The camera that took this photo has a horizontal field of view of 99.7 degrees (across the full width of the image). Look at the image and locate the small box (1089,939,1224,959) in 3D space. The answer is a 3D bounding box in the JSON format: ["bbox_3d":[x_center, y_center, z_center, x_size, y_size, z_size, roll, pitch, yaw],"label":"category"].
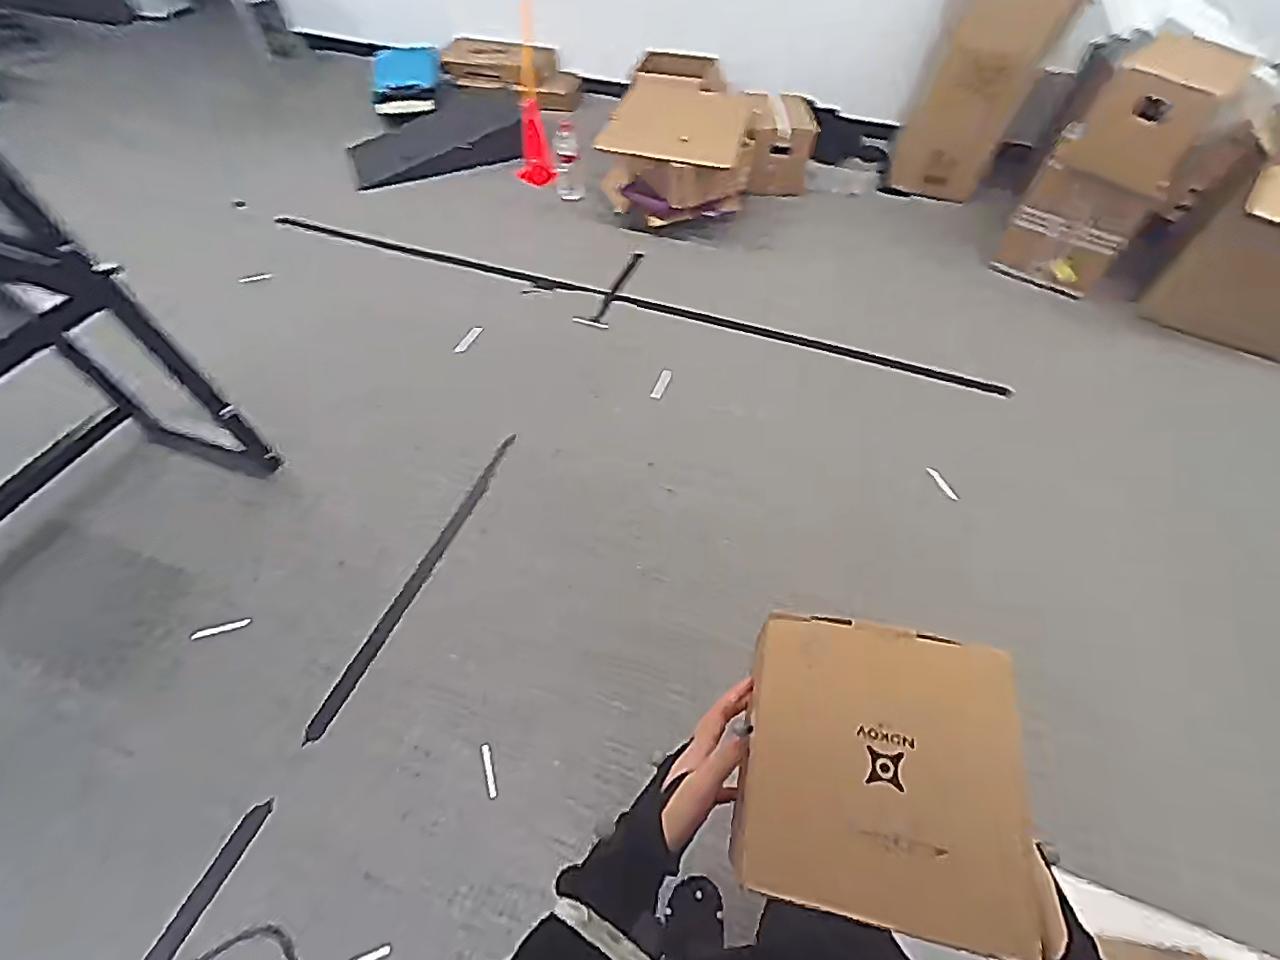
[{"bbox_3d":[0.605,0.597,0.540,0.179,0.176,0.168,17,56,11],"label":"small box"}]

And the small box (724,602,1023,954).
[{"bbox_3d":[0.158,0.214,0.422,0.168,0.176,0.179,7,63,11],"label":"small box"}]
